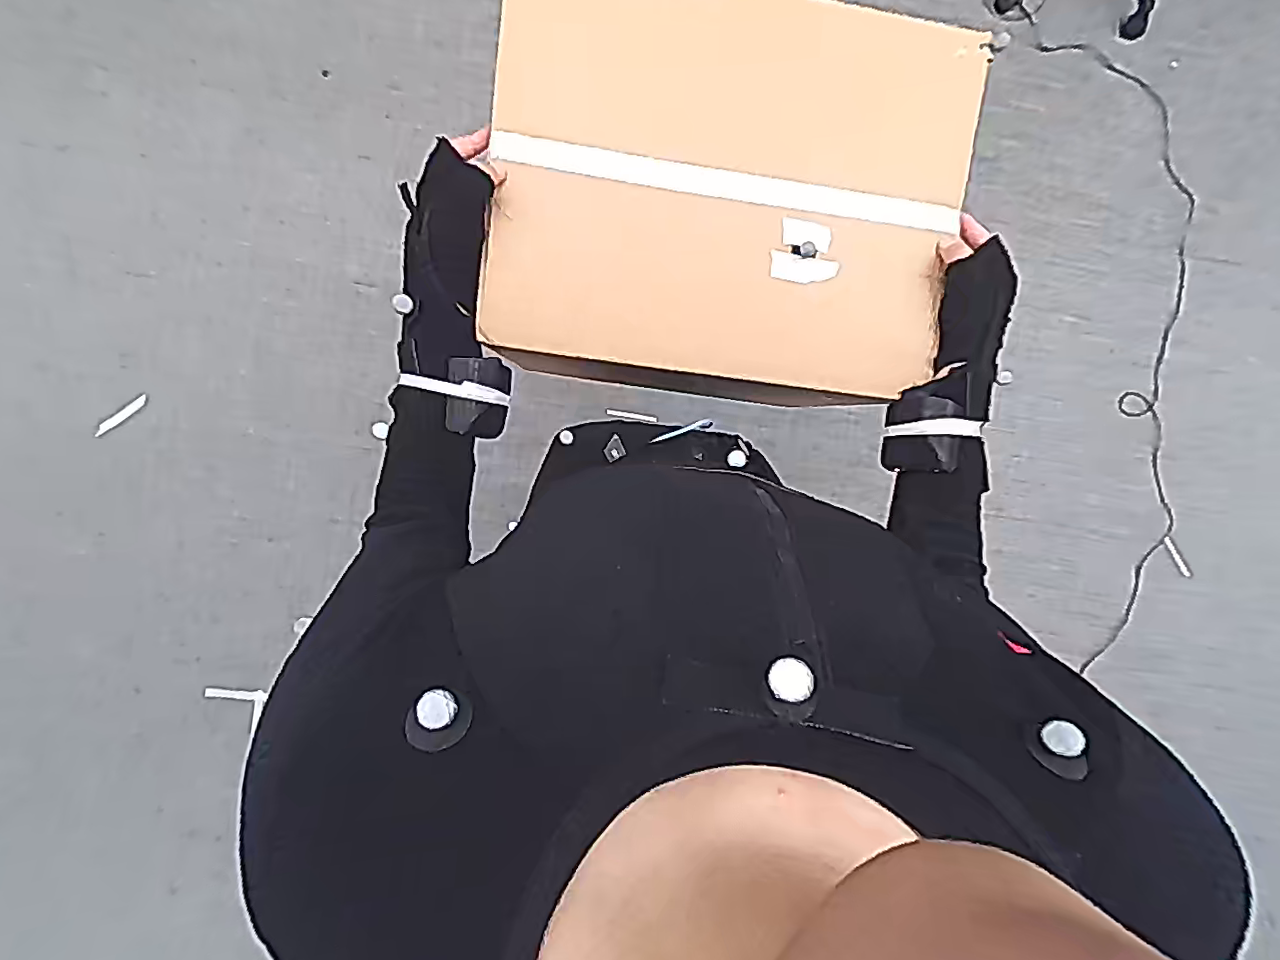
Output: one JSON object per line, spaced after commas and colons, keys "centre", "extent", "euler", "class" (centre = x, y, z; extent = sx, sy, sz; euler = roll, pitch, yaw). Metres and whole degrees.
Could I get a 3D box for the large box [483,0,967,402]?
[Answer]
{"centre": [0.059, -0.265, 0.615], "extent": [0.408, 0.320, 0.320], "euler": [7, 98, -7], "class": "large box"}
